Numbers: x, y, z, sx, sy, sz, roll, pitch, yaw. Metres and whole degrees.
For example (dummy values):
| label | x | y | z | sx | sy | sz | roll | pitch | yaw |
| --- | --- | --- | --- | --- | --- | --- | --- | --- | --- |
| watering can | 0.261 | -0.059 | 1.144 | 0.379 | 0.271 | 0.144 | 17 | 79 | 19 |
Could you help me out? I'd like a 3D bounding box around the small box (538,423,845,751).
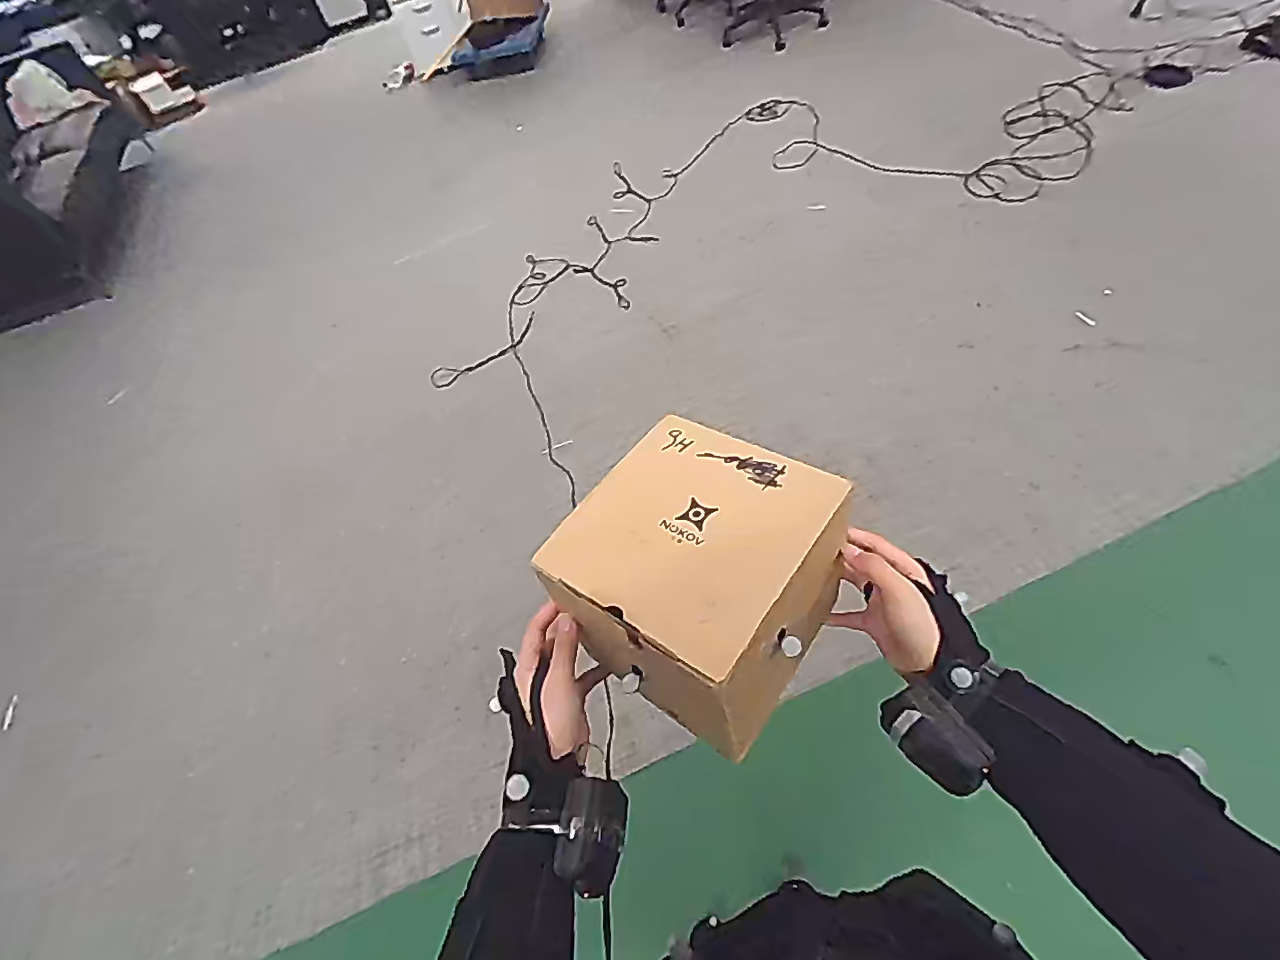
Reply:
| label | x | y | z | sx | sy | sz | roll | pitch | yaw |
| --- | --- | --- | --- | --- | --- | --- | --- | --- | --- |
| small box | 0.053 | 0.088 | 0.451 | 0.168 | 0.176 | 0.179 | 25 | 60 | 32 |
